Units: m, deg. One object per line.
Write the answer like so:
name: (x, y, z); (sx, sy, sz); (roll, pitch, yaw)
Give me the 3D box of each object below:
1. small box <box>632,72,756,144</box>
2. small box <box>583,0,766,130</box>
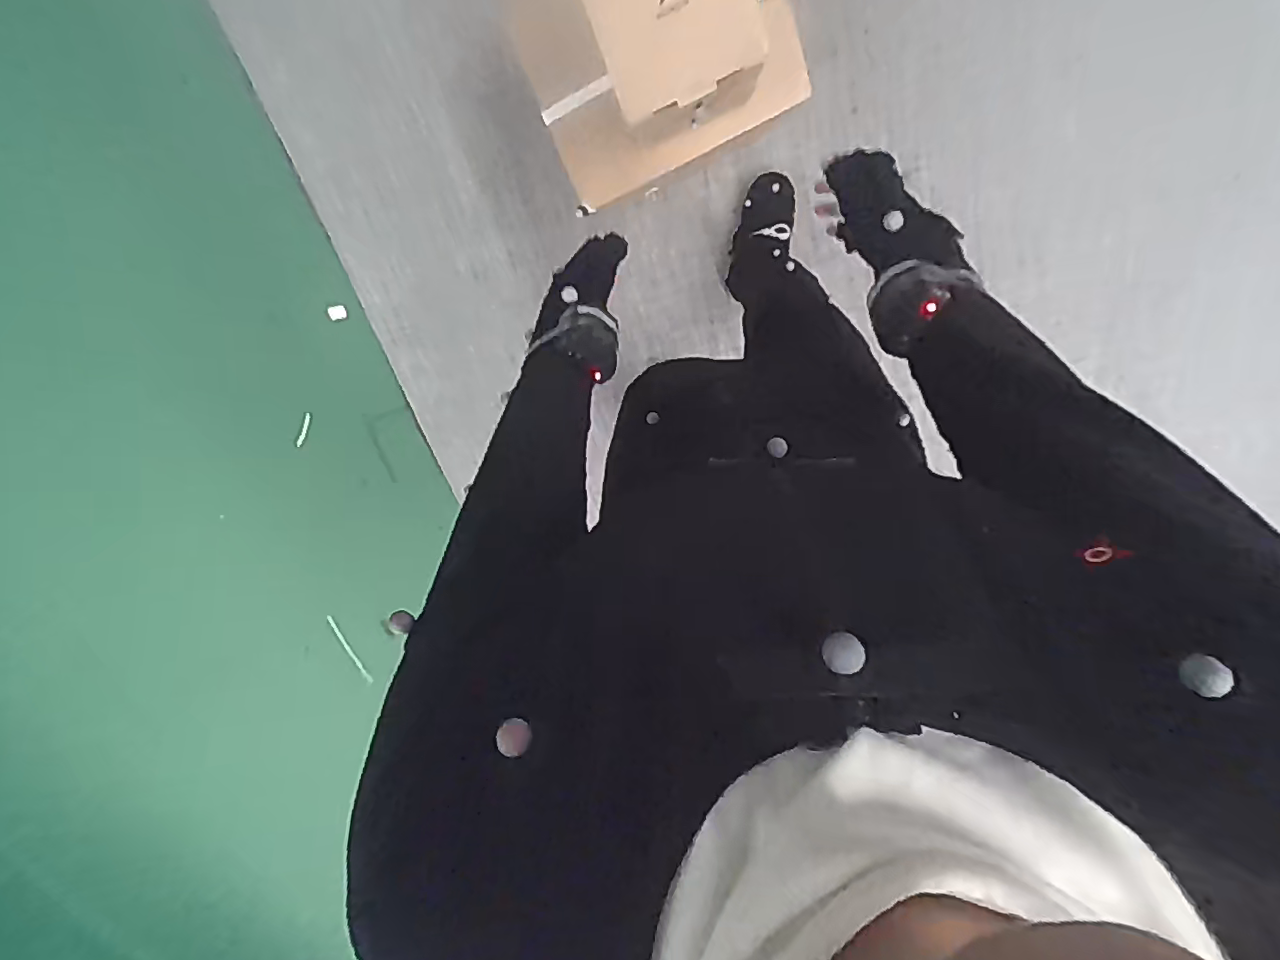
small box: (0.052, -0.599, 0.763); (0.179, 0.176, 0.168); (-17, 115, 13)
small box: (0.036, -0.527, 0.618); (0.168, 0.176, 0.179); (-17, 116, 15)
